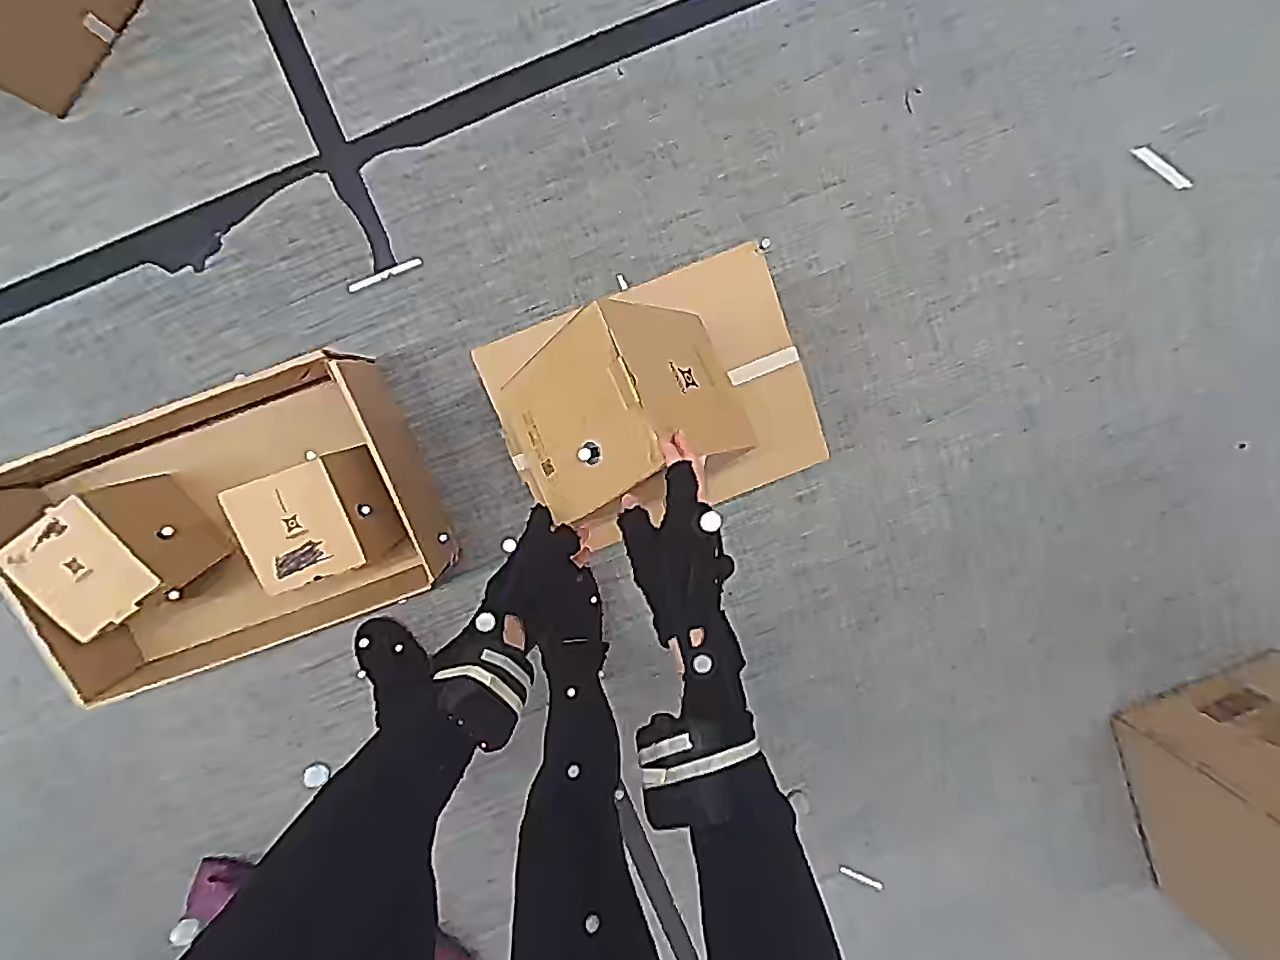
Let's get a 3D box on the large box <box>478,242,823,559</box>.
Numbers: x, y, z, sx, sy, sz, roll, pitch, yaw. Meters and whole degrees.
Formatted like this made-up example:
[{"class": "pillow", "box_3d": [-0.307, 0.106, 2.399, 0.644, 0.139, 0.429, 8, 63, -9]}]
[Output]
[{"class": "large box", "box_3d": [0.010, -0.123, 0.881, 0.408, 0.320, 0.320, -22, 101, -1]}]
